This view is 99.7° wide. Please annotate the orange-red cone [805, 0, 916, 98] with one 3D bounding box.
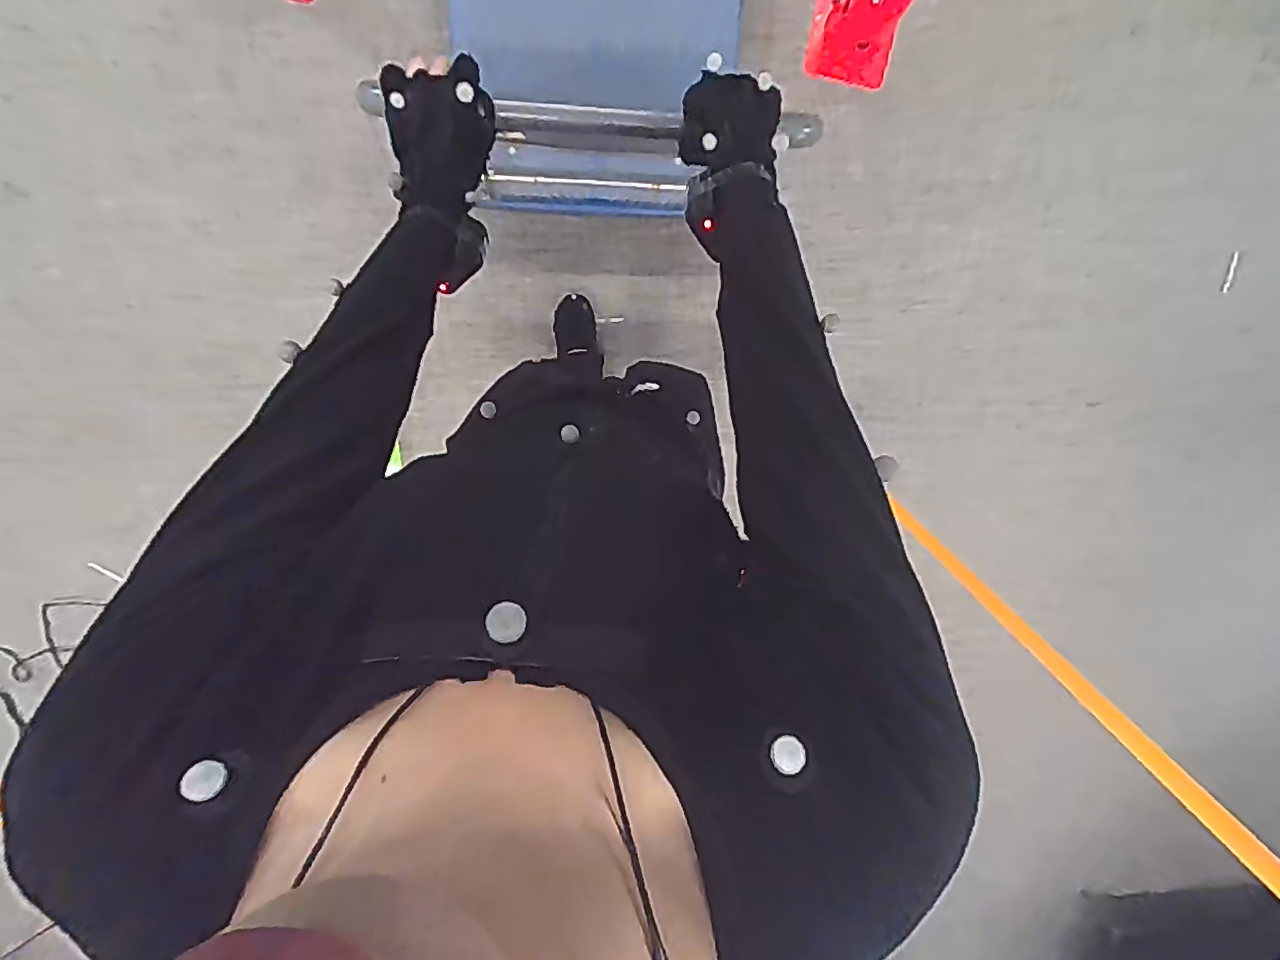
[{"bbox_3d":[0.511,-0.973,1.103,0.198,0.360,0.199,9,106,-7],"label":"orange-red cone"}]
